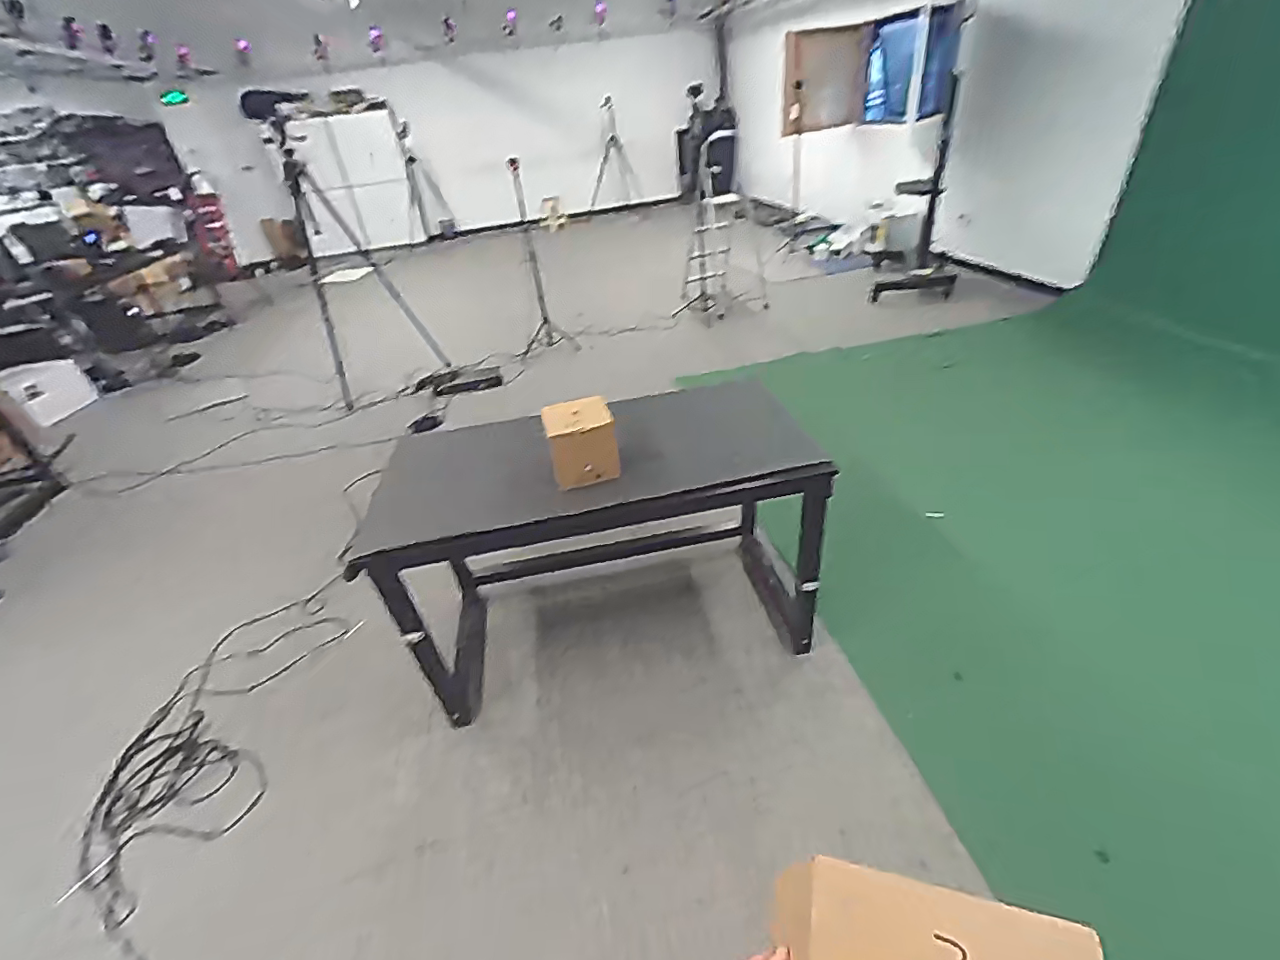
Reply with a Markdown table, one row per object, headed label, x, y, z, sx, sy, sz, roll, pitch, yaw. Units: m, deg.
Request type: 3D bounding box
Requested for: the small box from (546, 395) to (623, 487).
| label | x | y | z | sx | sy | sz | roll | pitch | yaw |
| --- | --- | --- | --- | --- | --- | --- | --- | --- | --- |
| small box | -0.148 | -0.104 | 1.439 | 0.168 | 0.176 | 0.179 | -13 | 34 | -8 |
